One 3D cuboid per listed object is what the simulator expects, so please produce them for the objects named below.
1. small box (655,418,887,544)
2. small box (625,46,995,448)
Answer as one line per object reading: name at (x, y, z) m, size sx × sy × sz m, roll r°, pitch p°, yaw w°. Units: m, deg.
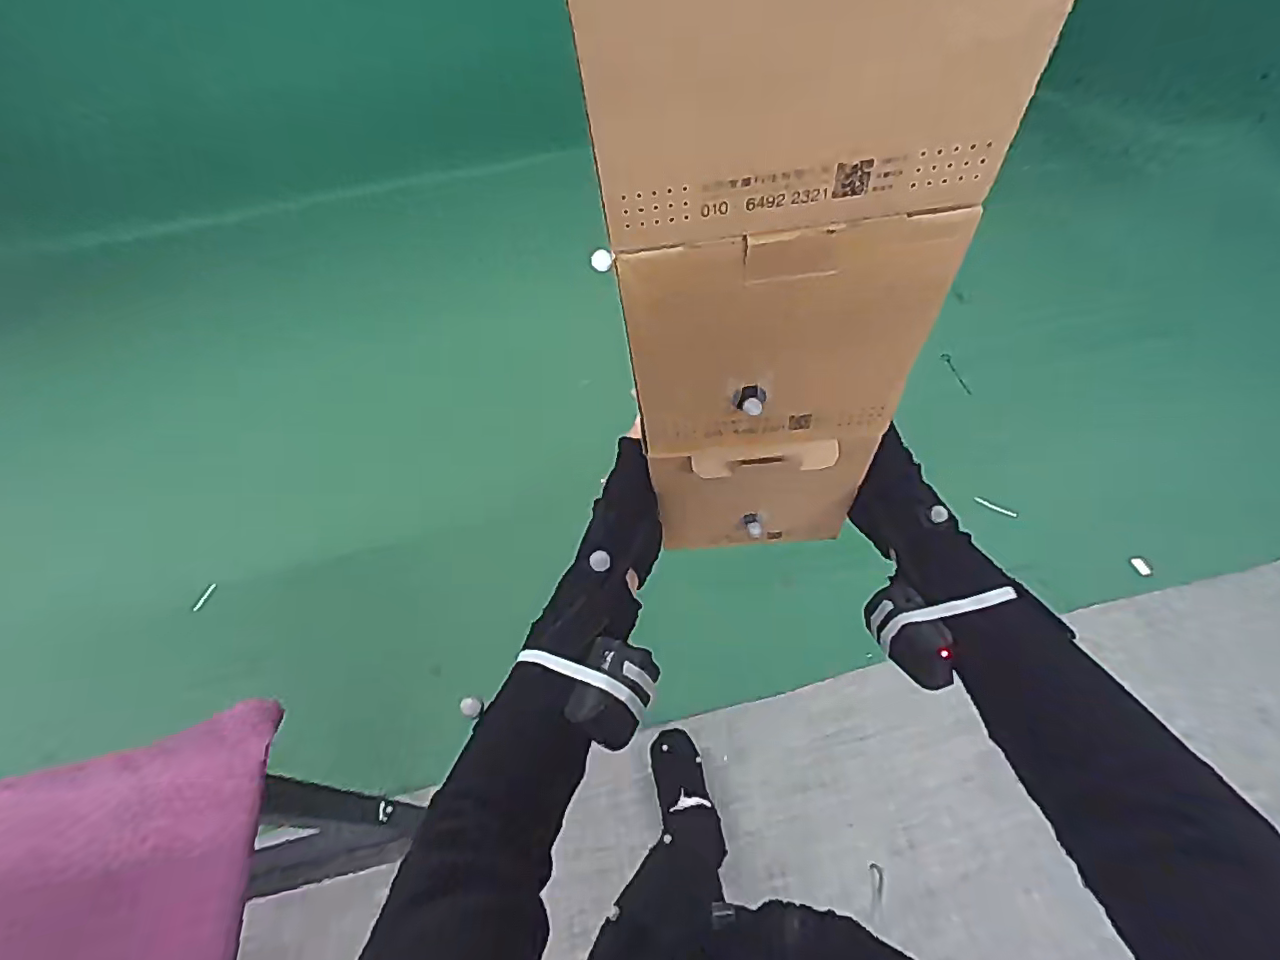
small box at (0.099, -0.058, 0.494) m, size 0.168 × 0.176 × 0.179 m, roll -4°, pitch 58°, yaw 4°
small box at (0.080, -0.143, 0.356) m, size 0.168 × 0.176 × 0.179 m, roll -6°, pitch 58°, yaw 3°
